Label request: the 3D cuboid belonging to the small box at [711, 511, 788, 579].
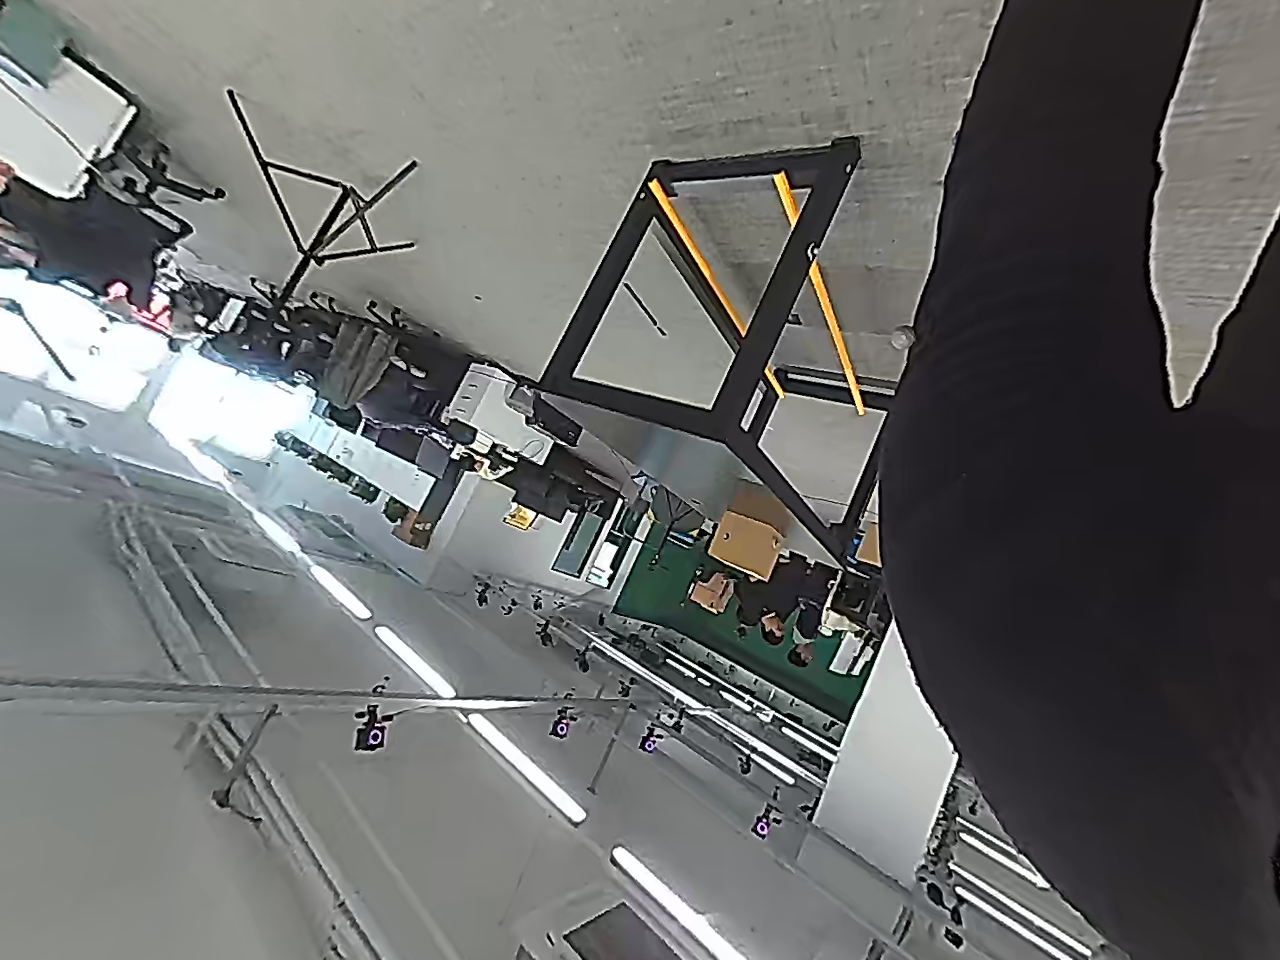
[{"bbox_3d":[0.380,0.217,1.859,0.179,0.176,0.168,19,172,38],"label":"small box"}]
